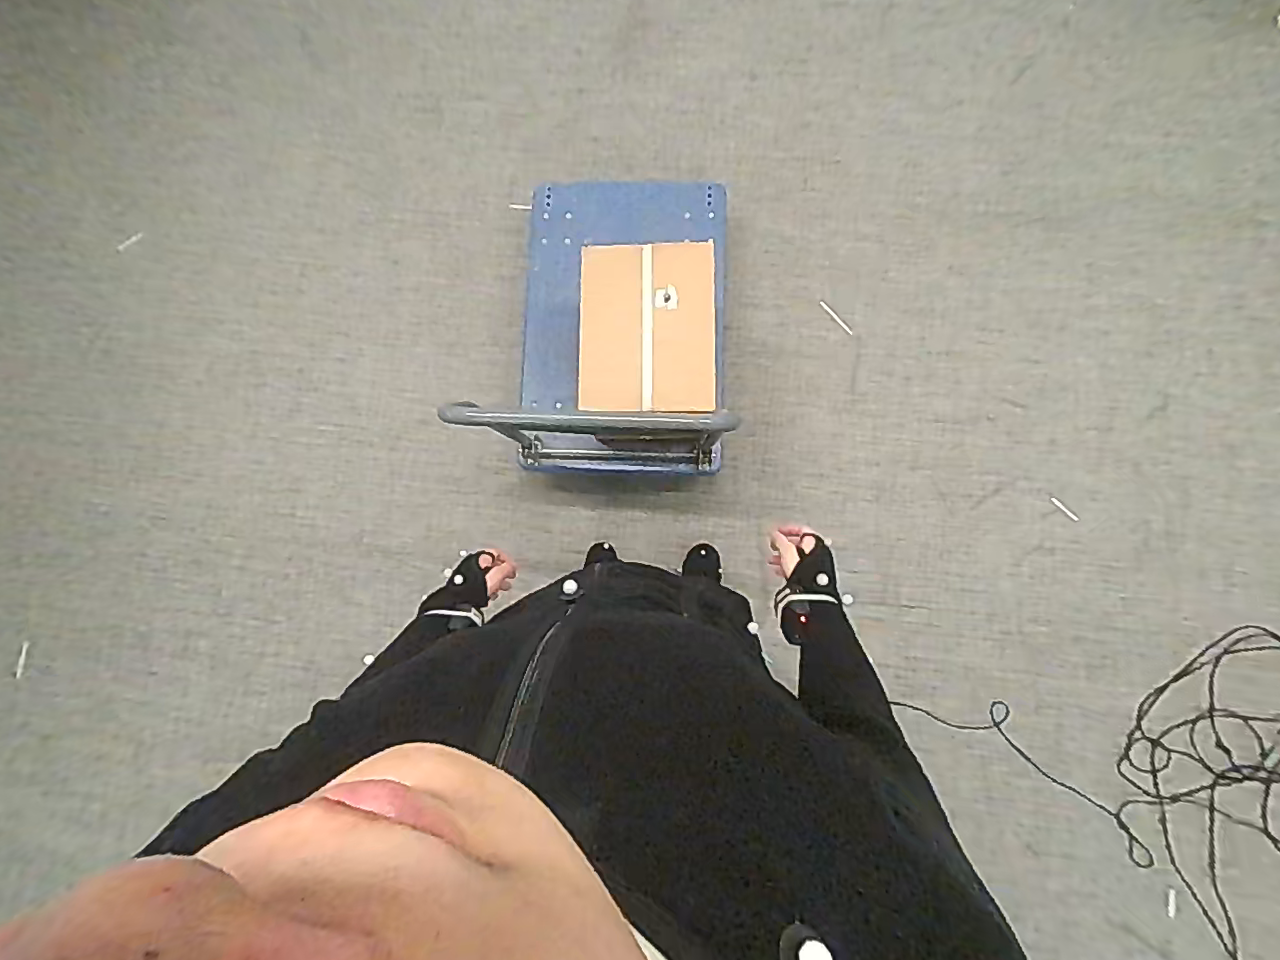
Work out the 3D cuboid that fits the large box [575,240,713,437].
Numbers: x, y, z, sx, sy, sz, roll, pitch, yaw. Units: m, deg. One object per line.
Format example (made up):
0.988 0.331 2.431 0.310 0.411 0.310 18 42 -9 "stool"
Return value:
0.015 -0.337 1.379 0.320 0.320 0.408 0 83 2 "large box"
